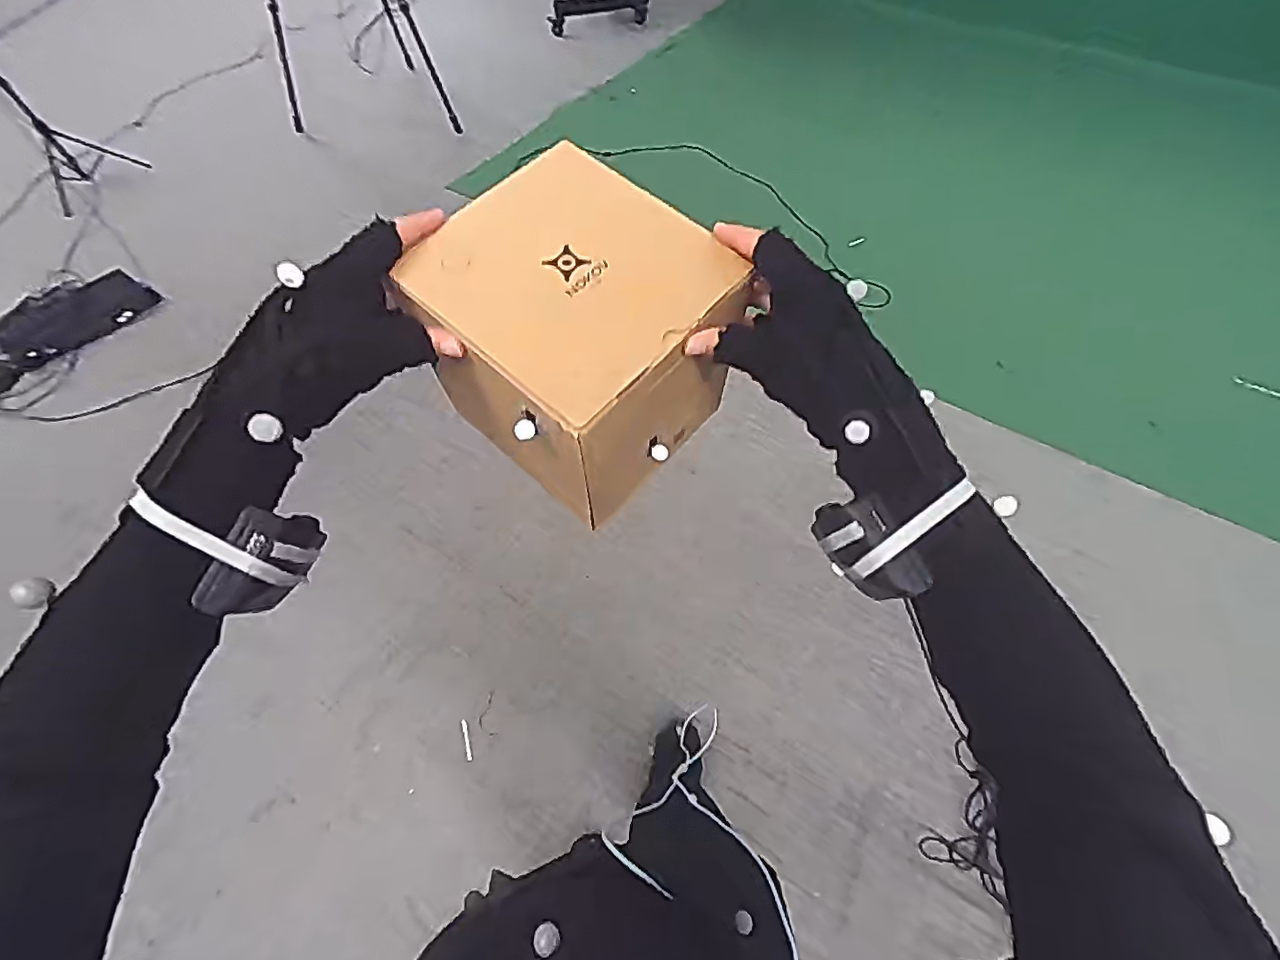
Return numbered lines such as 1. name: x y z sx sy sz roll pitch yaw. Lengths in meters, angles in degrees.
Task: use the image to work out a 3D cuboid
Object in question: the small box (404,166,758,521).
1. small box: -0.041 -0.095 0.427 0.179 0.176 0.168 40 70 14
